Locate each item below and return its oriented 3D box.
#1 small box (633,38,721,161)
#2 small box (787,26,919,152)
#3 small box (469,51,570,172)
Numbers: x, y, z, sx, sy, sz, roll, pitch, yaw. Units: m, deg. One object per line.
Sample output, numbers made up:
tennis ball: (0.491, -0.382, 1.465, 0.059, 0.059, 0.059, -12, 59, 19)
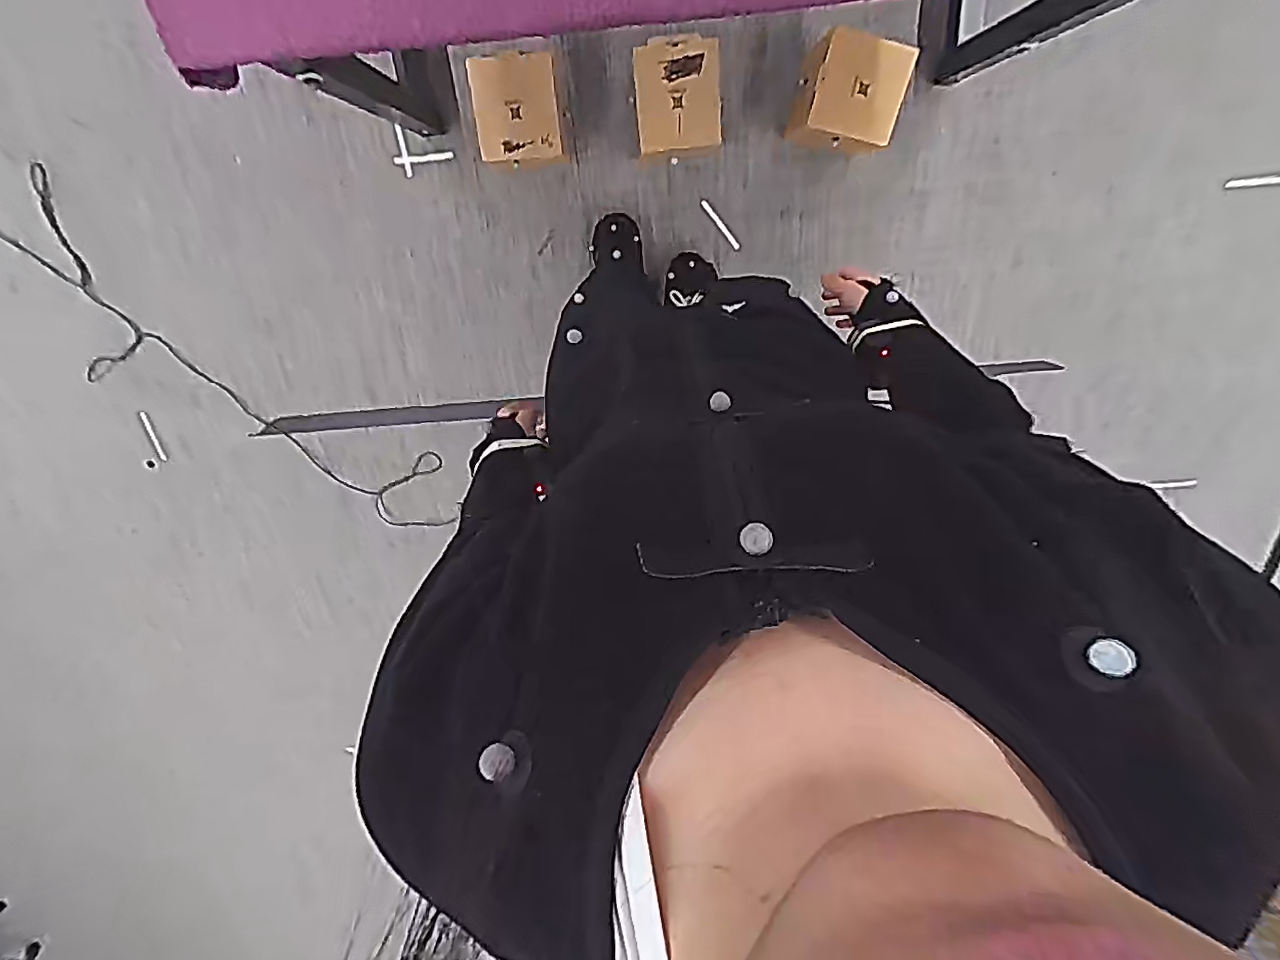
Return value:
small box: (0.073, -0.780, 1.124, 0.168, 0.176, 0.179, -5, 116, 2)
small box: (0.430, -0.797, 1.123, 0.179, 0.176, 0.168, 11, 115, -5)
small box: (-0.242, -0.759, 1.129, 0.168, 0.176, 0.179, -3, 113, 0)
